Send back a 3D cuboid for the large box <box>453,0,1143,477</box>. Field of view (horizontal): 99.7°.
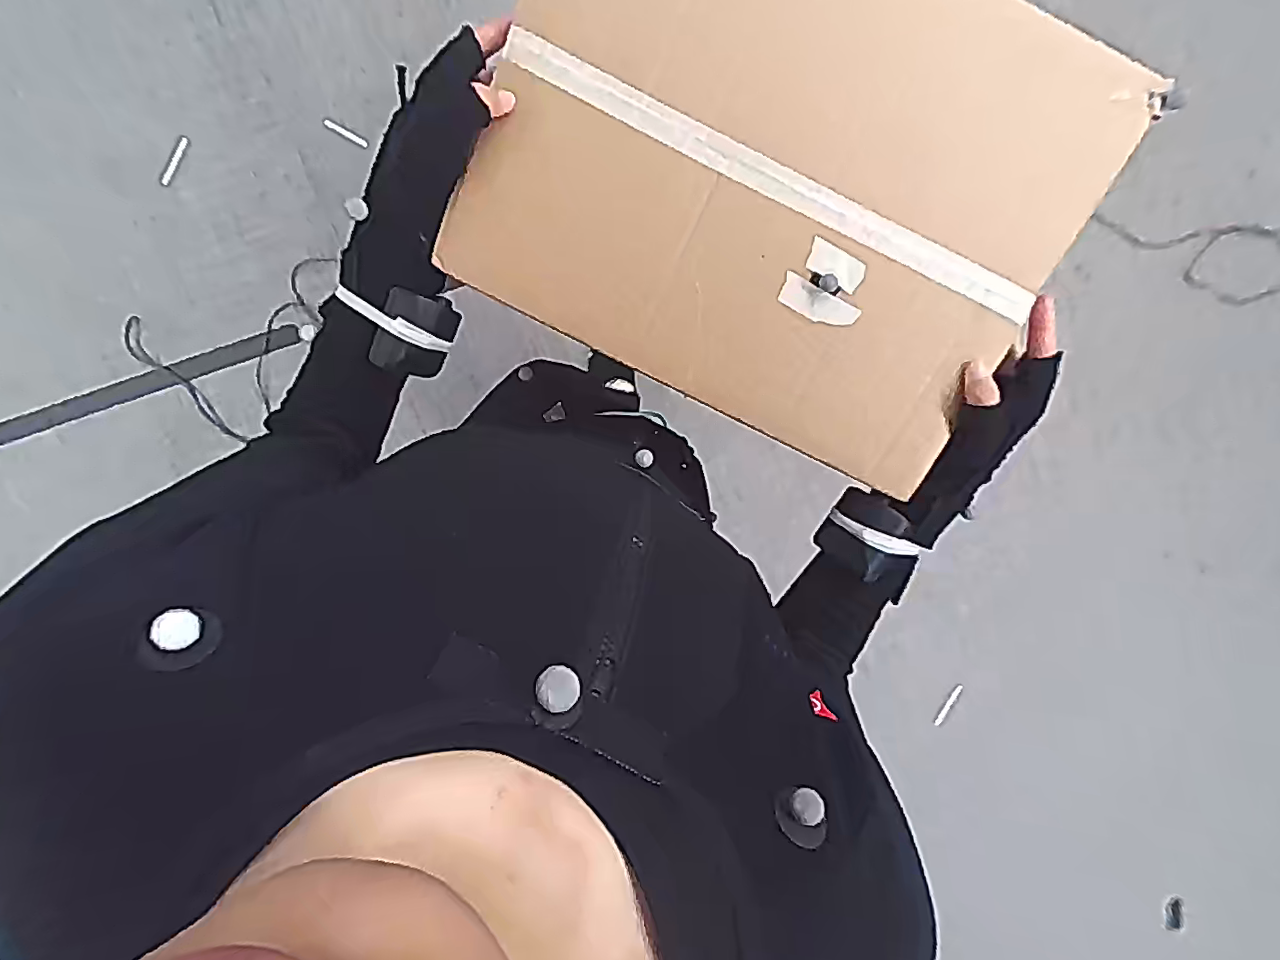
[{"bbox_3d":[0.104,-0.251,0.532,0.408,0.320,0.320,26,104,-3],"label":"large box"}]
